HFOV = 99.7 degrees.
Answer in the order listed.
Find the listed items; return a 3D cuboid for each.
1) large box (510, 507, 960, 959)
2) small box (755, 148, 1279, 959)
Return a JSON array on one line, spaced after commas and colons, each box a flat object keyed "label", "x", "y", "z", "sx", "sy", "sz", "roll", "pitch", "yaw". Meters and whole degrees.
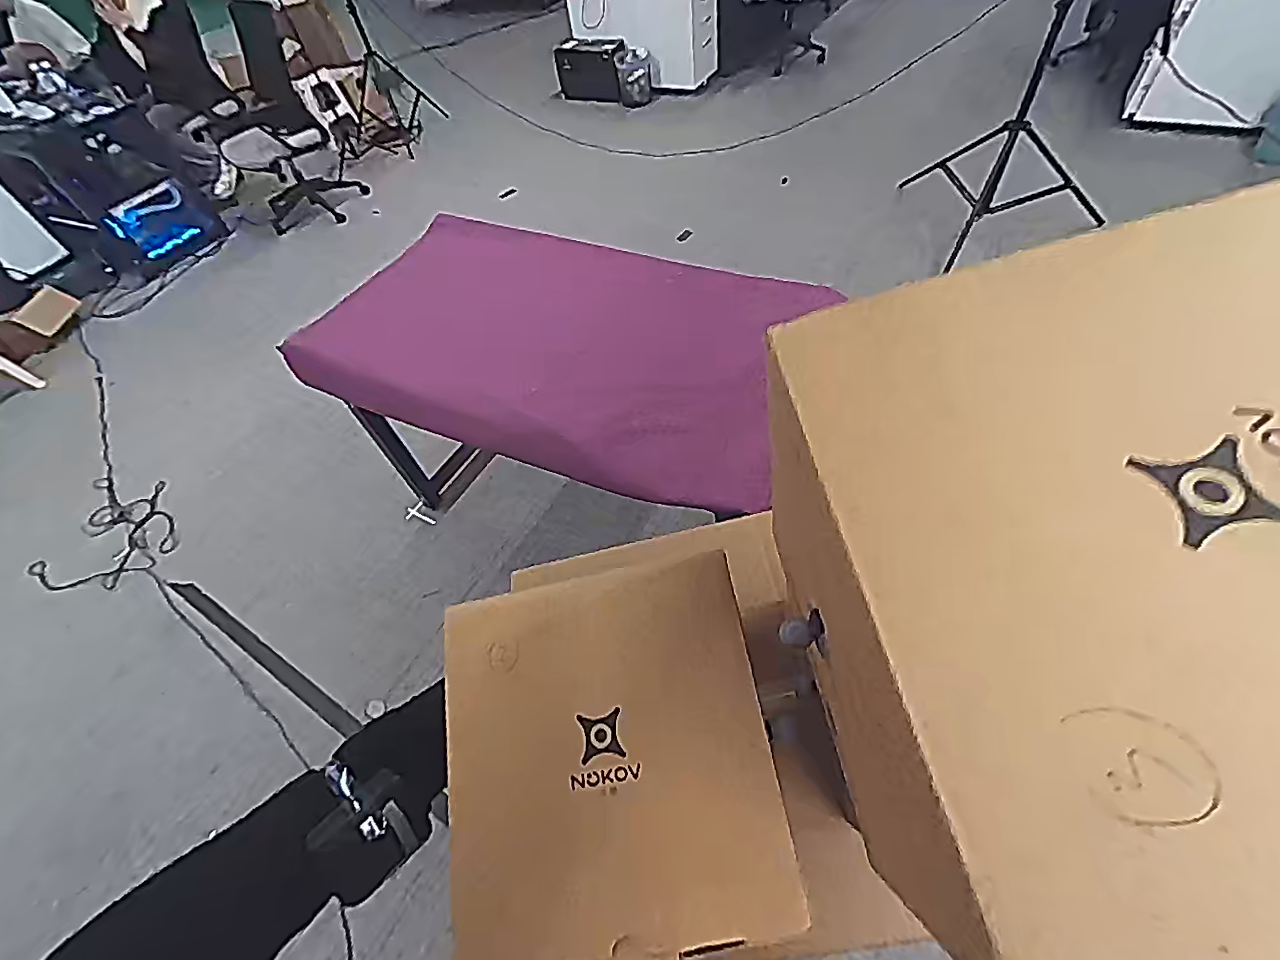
[{"label": "large box", "x": 0.125, "y": 0.241, "z": 0.555, "sx": 0.408, "sy": 0.320, "sz": 0.320, "roll": -16, "pitch": 58, "yaw": 6}, {"label": "small box", "x": 0.148, "y": 0.030, "z": 0.186, "sx": 0.179, "sy": 0.176, "sz": 0.168, "roll": -14, "pitch": 61, "yaw": 7}]
